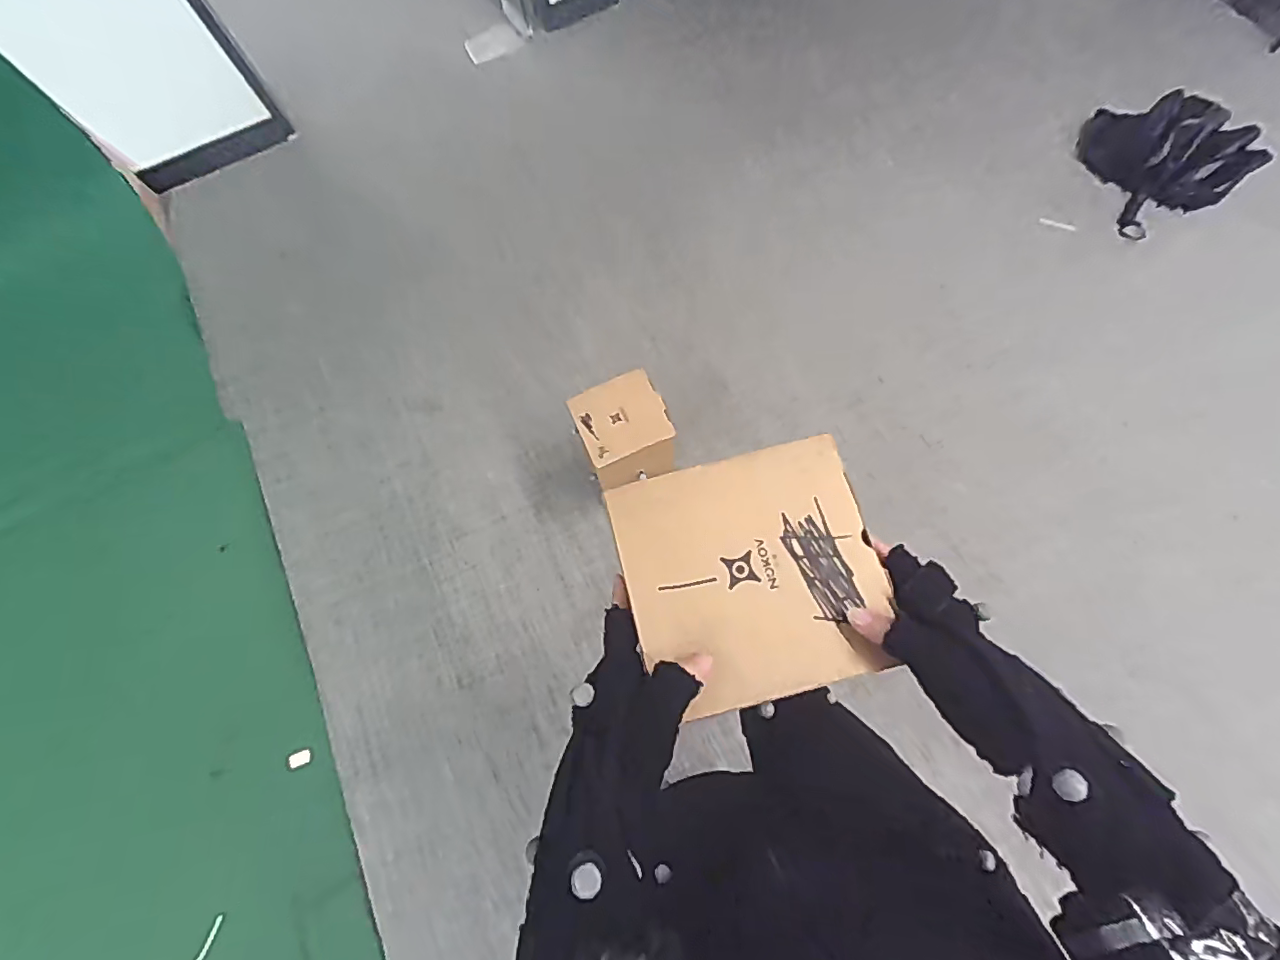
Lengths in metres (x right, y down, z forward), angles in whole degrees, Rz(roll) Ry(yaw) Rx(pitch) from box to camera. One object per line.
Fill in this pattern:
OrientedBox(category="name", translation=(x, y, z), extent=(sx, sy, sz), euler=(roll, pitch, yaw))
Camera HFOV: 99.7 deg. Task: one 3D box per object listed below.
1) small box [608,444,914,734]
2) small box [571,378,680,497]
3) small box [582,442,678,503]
OrientedBox(category="small box", translation=(0.080, 0.095, 0.453), extent=(0.179, 0.176, 0.168), euler=(-17, 69, -5))
OrientedBox(category="small box", translation=(-0.028, -0.084, 1.155), extent=(0.179, 0.176, 0.168), euler=(-23, 72, -4))
OrientedBox(category="small box", translation=(-0.020, -0.038, 1.313), extent=(0.179, 0.176, 0.168), euler=(-27, 72, -4))
